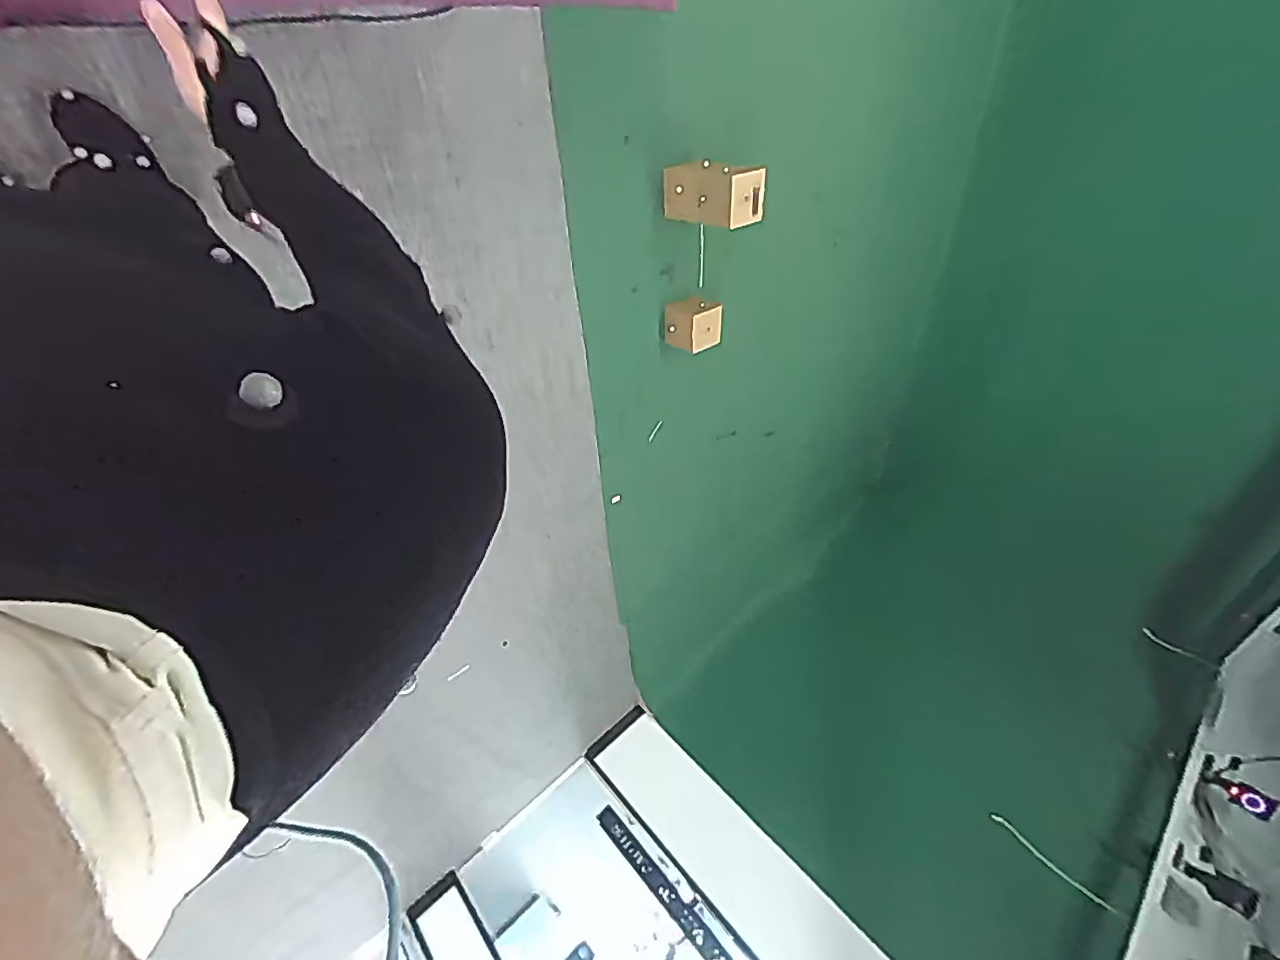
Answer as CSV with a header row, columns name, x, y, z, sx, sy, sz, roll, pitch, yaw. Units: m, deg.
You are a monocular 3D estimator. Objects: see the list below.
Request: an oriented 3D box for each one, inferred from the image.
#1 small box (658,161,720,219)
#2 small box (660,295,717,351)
name,x,y,z,sx,sy,sz,roll,pitch,yaw
small box,0.178,-1.078,2.004,0.179,0.176,0.168,-32,135,-31
small box,0.205,-0.676,2.305,0.179,0.176,0.168,-31,135,-31
